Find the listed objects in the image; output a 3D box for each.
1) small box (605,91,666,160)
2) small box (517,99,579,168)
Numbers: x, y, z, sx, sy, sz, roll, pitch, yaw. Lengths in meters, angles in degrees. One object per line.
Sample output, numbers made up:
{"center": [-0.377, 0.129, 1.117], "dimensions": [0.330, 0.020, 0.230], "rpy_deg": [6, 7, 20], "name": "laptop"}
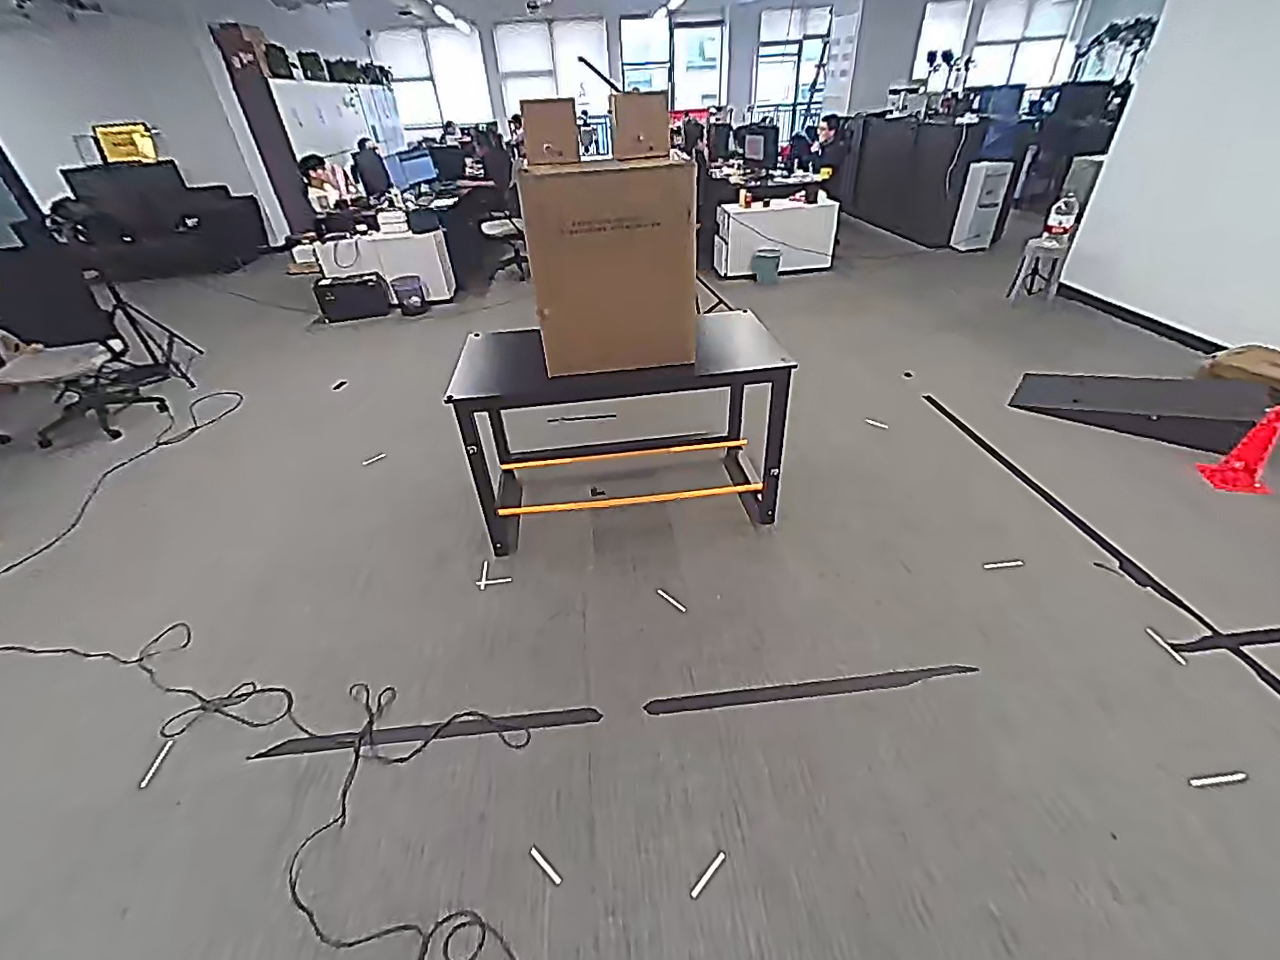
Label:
{"center": [-0.014, -1.106, 1.690], "dimensions": [0.168, 0.176, 0.179], "rpy_deg": [-9, 35, -4], "name": "small box"}
{"center": [-0.285, -1.078, 1.682], "dimensions": [0.168, 0.176, 0.179], "rpy_deg": [-8, 36, -5], "name": "small box"}
